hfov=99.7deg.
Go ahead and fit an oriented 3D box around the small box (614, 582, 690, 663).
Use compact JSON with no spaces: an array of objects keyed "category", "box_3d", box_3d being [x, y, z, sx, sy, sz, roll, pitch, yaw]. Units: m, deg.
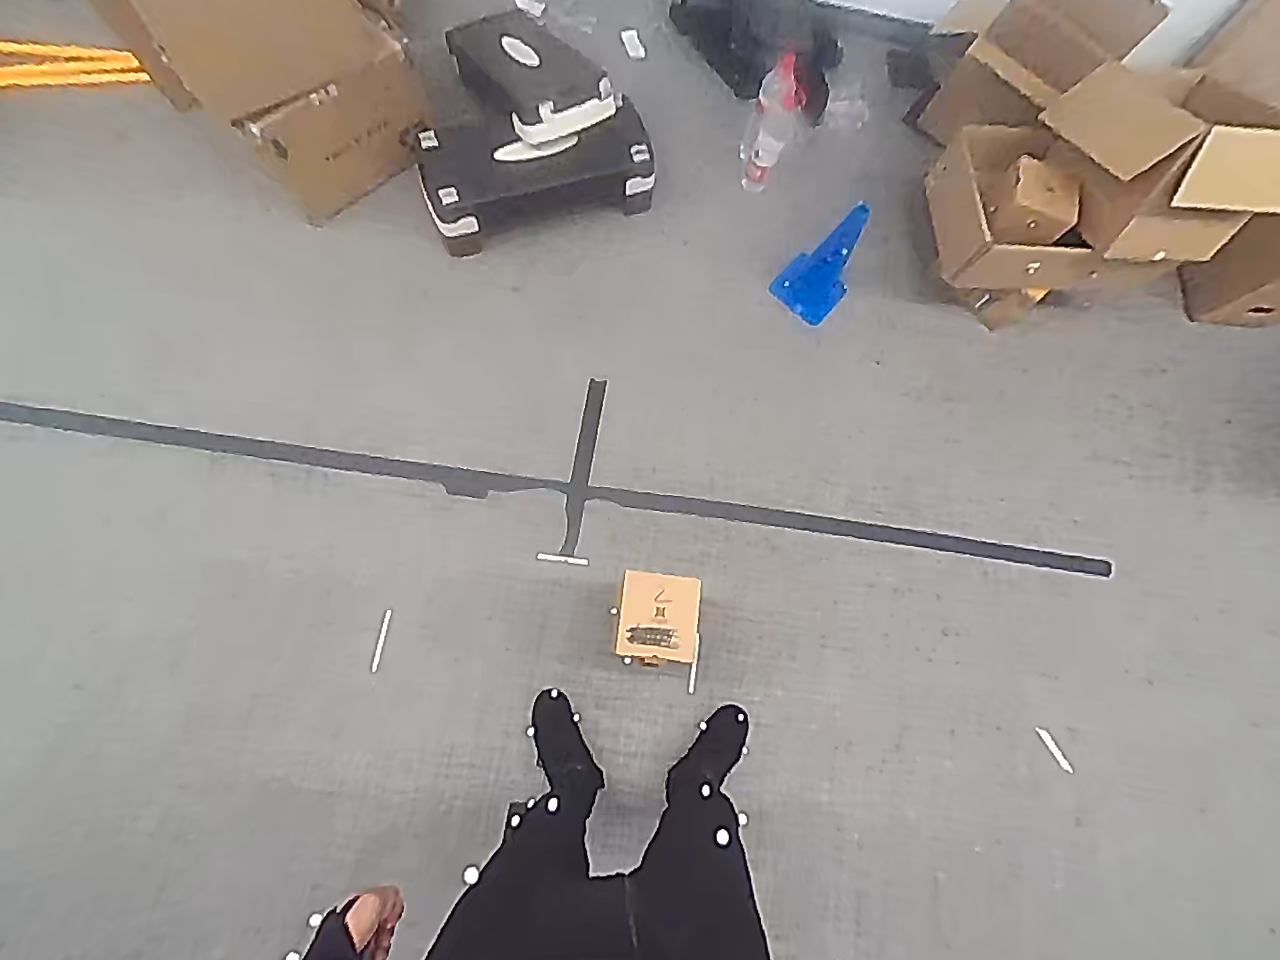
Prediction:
[{"category":"small box","box_3d":[0.026,0.358,1.361,0.168,0.176,0.179,6,76,-4]}]
